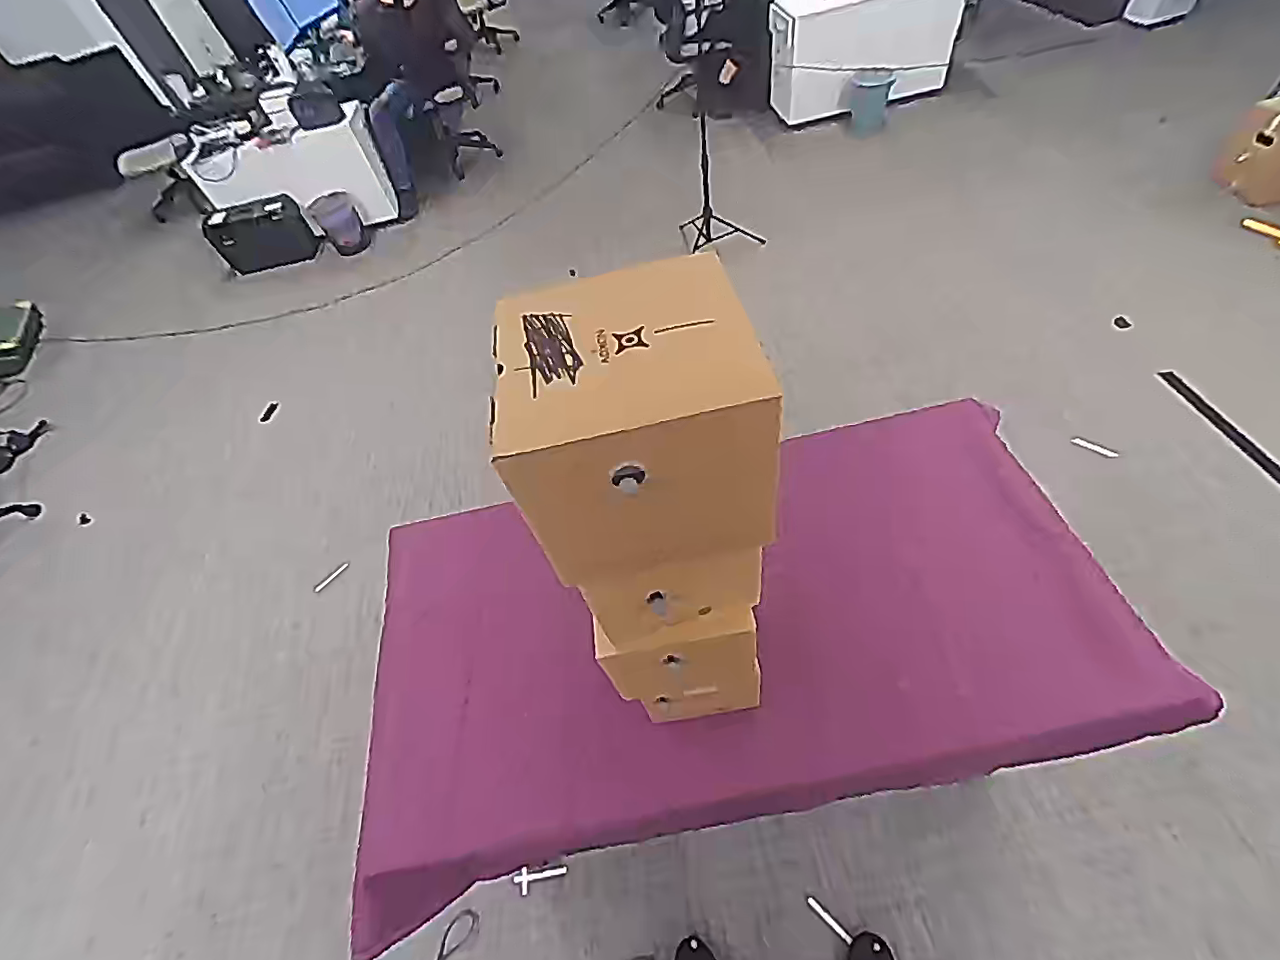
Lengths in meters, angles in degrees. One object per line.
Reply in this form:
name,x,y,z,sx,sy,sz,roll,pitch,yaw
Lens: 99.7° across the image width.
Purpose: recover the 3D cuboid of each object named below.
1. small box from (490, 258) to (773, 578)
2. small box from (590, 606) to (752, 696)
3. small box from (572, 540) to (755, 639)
small box,-0.003,-0.041,0.428,0.179,0.176,0.168,-12,51,2
small box,0.039,0.159,0.683,0.179,0.176,0.168,-11,52,3
small box,0.016,0.048,0.566,0.168,0.176,0.179,-18,51,-2
